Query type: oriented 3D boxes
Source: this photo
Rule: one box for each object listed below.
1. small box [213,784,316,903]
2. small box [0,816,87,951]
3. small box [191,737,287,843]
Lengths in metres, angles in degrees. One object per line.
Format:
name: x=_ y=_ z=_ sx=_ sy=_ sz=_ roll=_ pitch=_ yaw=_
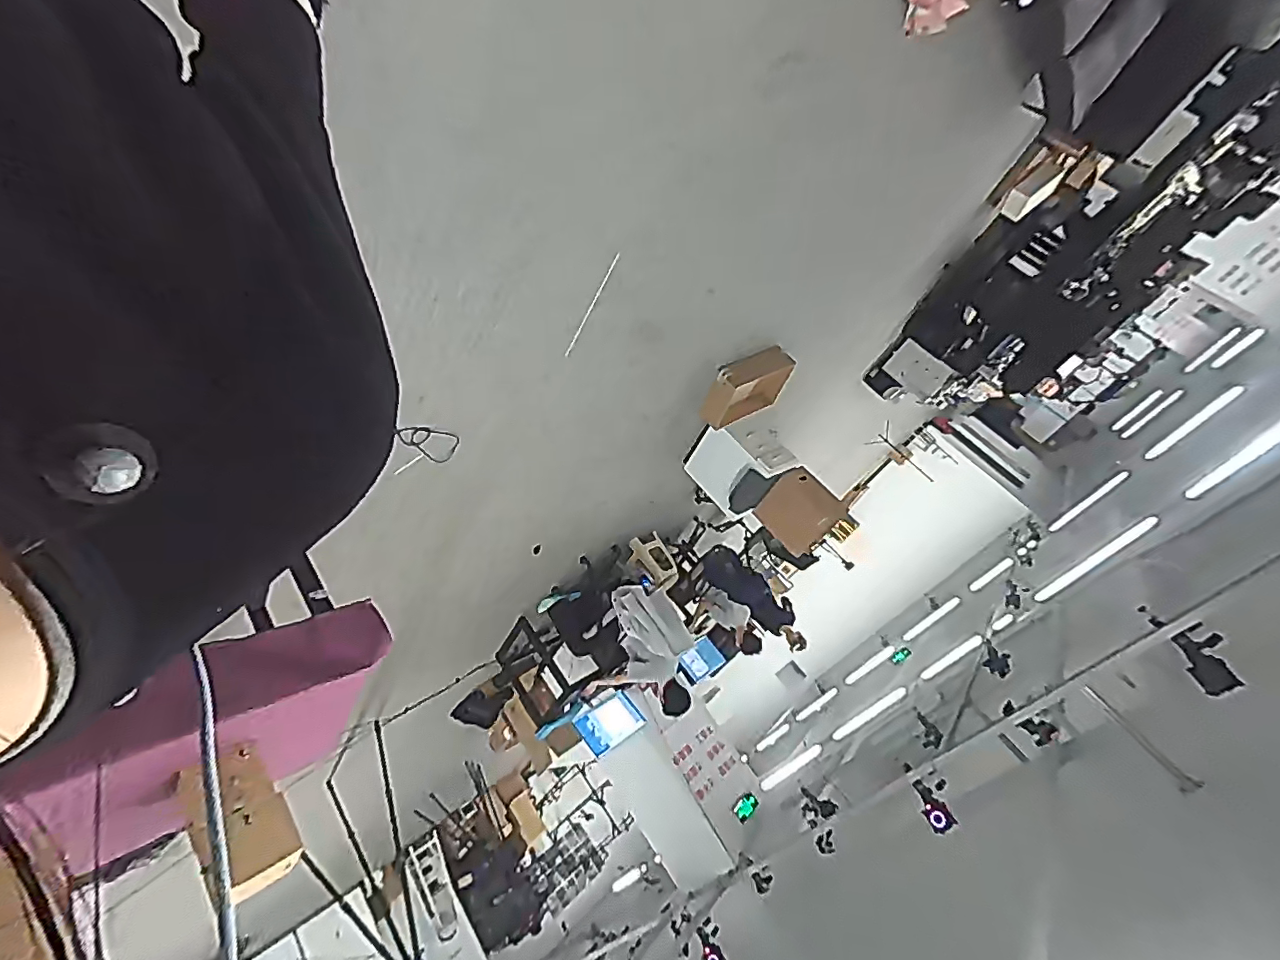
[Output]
small box: x=-1.001 y=0.956 z=1.433 sx=0.179 sy=0.176 sz=0.168 roll=-8 pitch=142 yaw=-51
small box: x=-1.349 y=0.888 z=1.181 sx=0.179 sy=0.176 sz=0.168 roll=-9 pitch=143 yaw=-52
small box: x=-1.108 y=0.842 z=1.488 sx=0.168 sy=0.176 sz=0.179 roll=-10 pitch=143 yaw=-51
